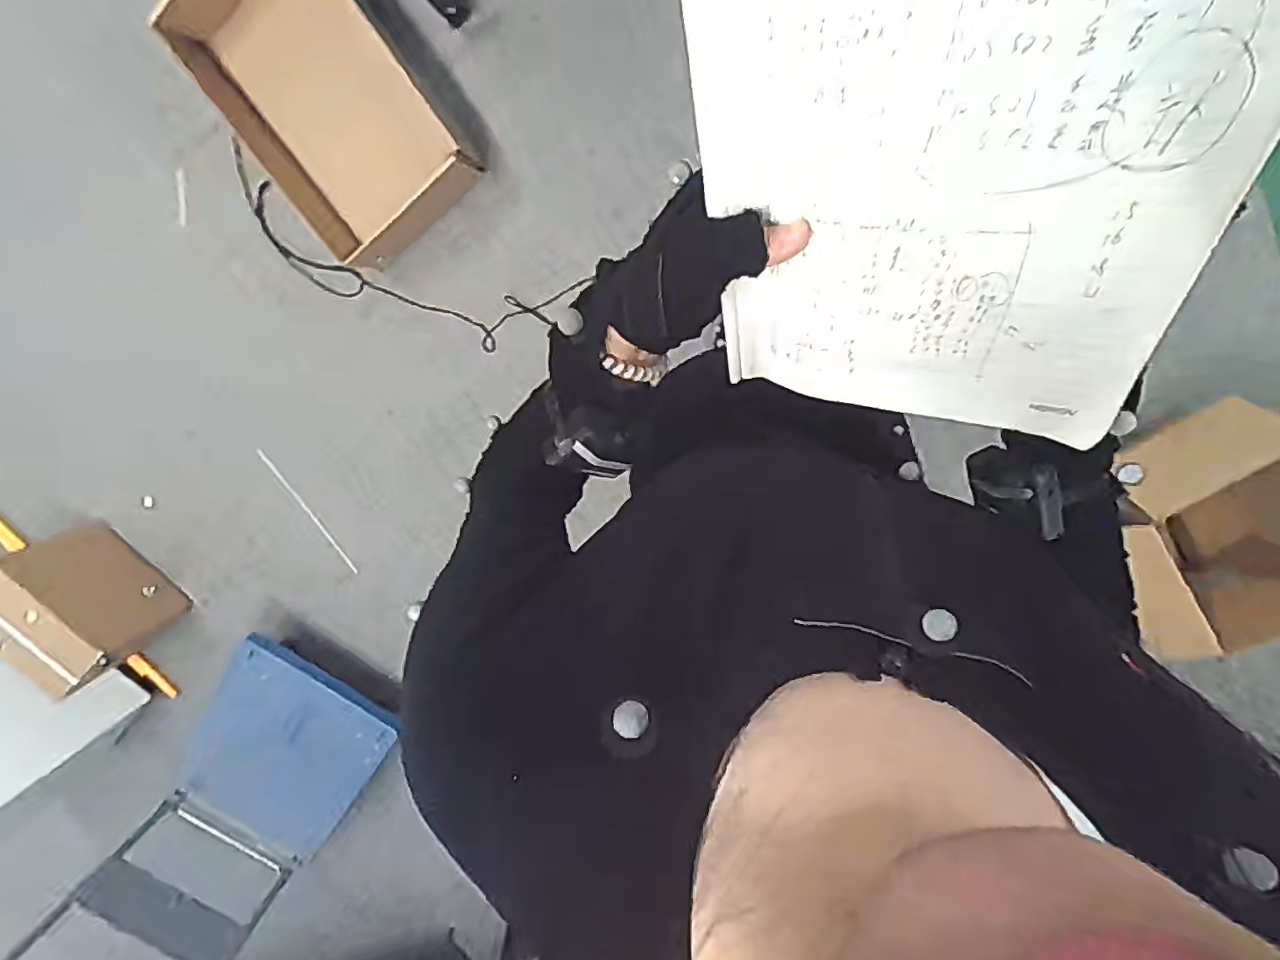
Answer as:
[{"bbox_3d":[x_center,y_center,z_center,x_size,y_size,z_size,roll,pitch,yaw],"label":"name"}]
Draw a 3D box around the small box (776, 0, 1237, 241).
[{"bbox_3d":[0.185,-0.244,0.316,0.168,0.176,0.179,7,114,2],"label":"small box"}]
